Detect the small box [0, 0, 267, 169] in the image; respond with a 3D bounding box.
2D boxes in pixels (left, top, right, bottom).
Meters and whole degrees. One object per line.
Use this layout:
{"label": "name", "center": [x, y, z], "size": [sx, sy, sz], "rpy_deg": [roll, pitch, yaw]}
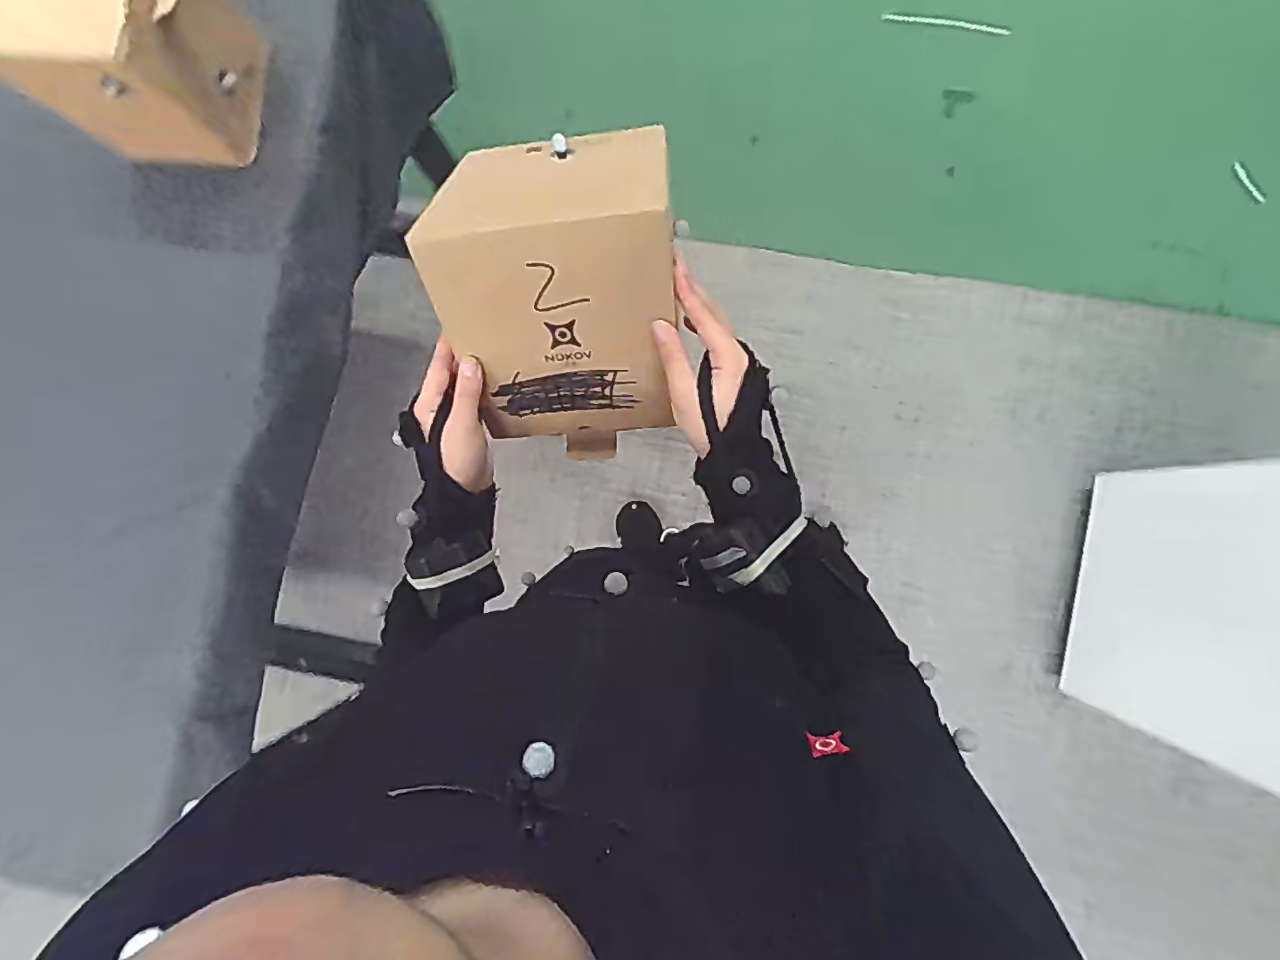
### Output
{"label": "small box", "center": [-0.577, -0.484, 0.616], "size": [0.179, 0.176, 0.168], "rpy_deg": [5, 87, 4]}
